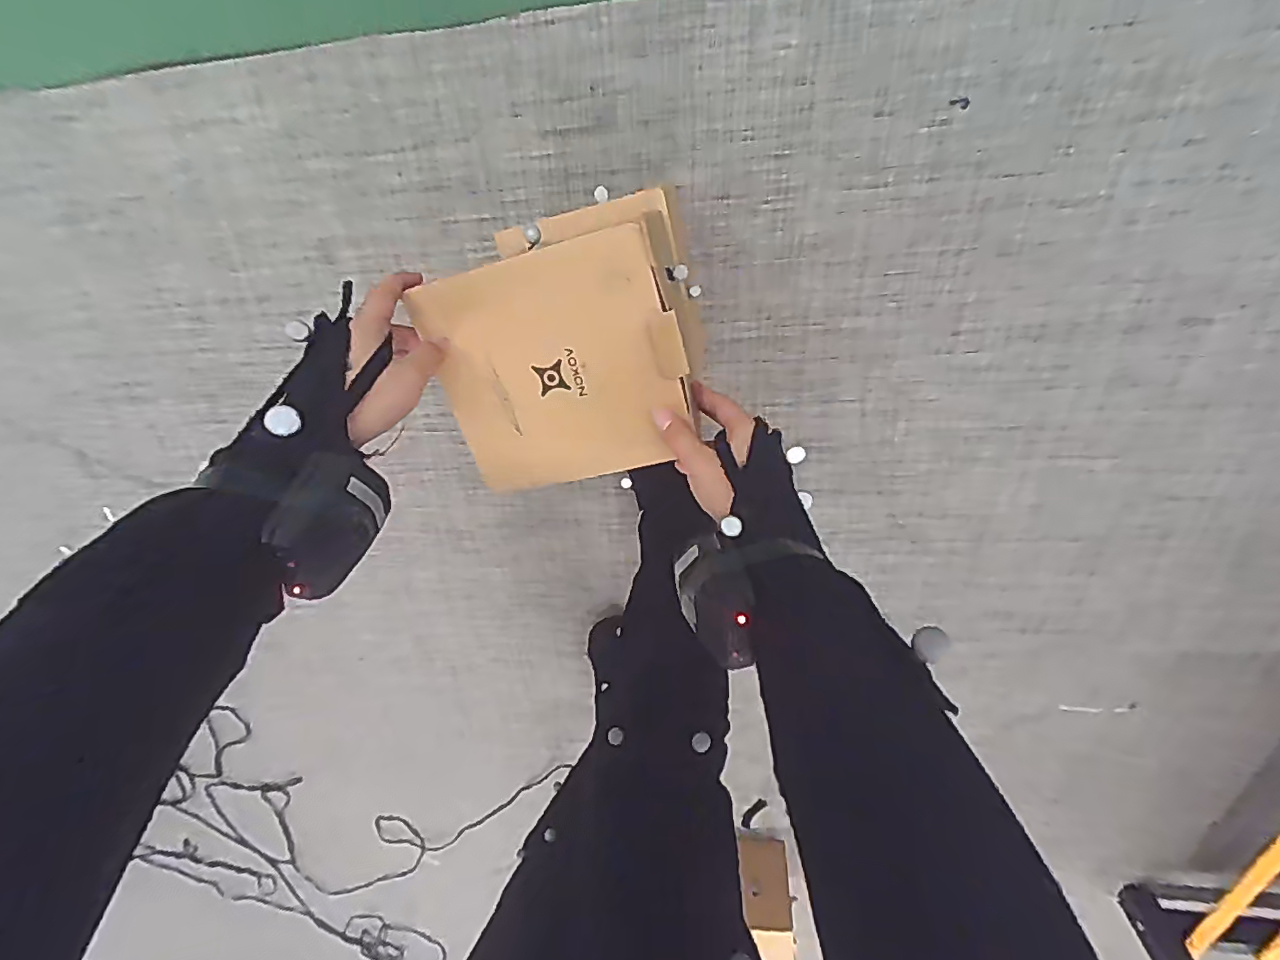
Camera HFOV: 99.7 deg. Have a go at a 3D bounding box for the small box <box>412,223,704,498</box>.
[{"bbox_3d":[-0.048,-0.109,0.460,0.179,0.176,0.168,-12,114,13],"label":"small box"}]

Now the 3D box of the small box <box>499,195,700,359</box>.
[{"bbox_3d":[-0.028,-0.206,0.605,0.168,0.176,0.179,-9,116,12],"label":"small box"}]

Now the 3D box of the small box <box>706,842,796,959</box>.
[{"bbox_3d":[0.238,0.921,1.181,0.179,0.176,0.168,-5,118,9],"label":"small box"}]
